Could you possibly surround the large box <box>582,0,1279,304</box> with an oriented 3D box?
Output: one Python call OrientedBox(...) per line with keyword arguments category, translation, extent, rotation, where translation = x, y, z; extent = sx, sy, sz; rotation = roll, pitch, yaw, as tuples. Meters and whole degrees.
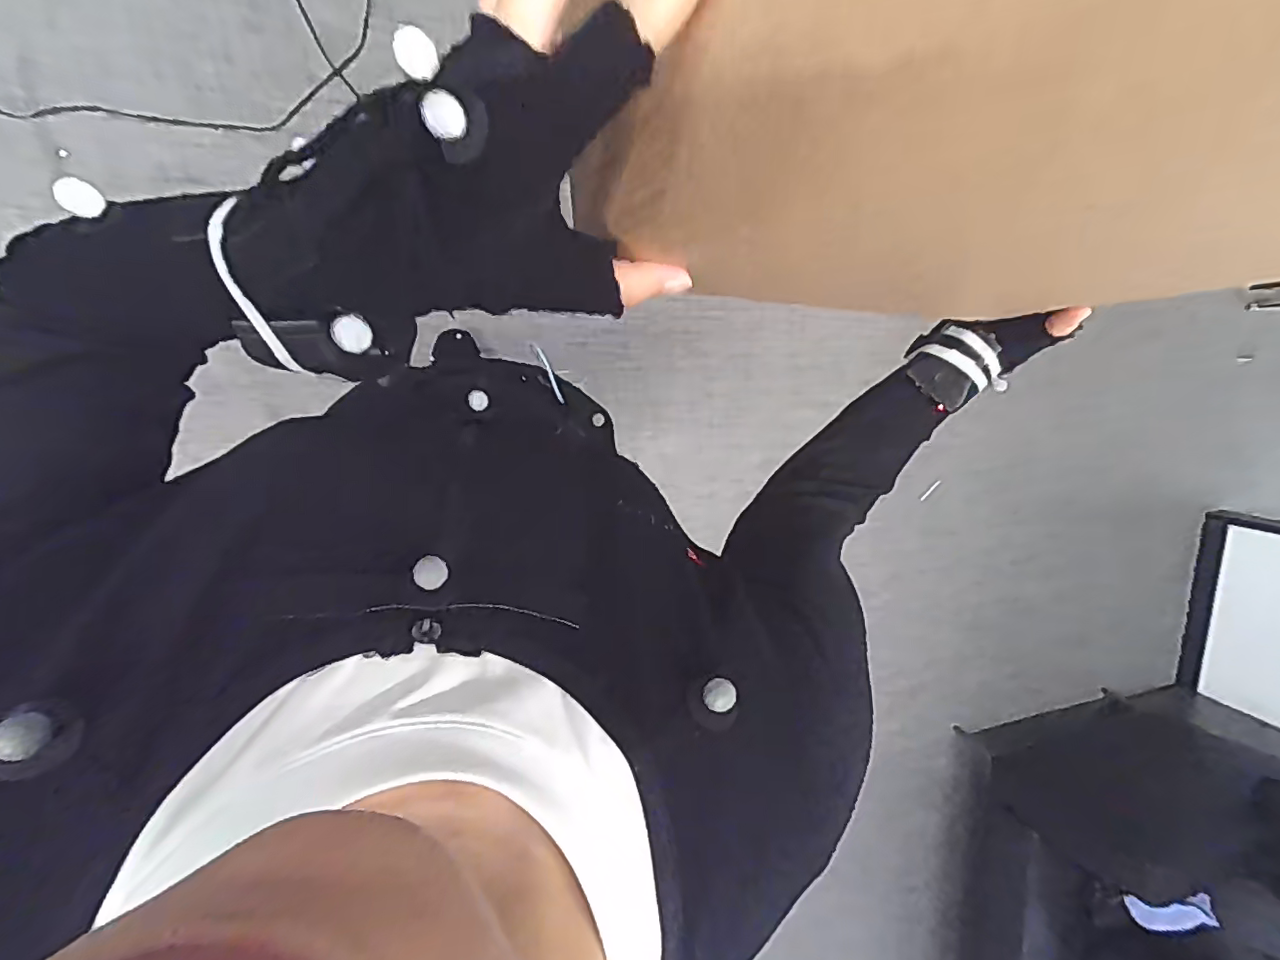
OrientedBox(category="large box", translation=(0.216, -0.260, 0.215), extent=(0.408, 0.320, 0.320), rotation=(-9, 101, -35))
